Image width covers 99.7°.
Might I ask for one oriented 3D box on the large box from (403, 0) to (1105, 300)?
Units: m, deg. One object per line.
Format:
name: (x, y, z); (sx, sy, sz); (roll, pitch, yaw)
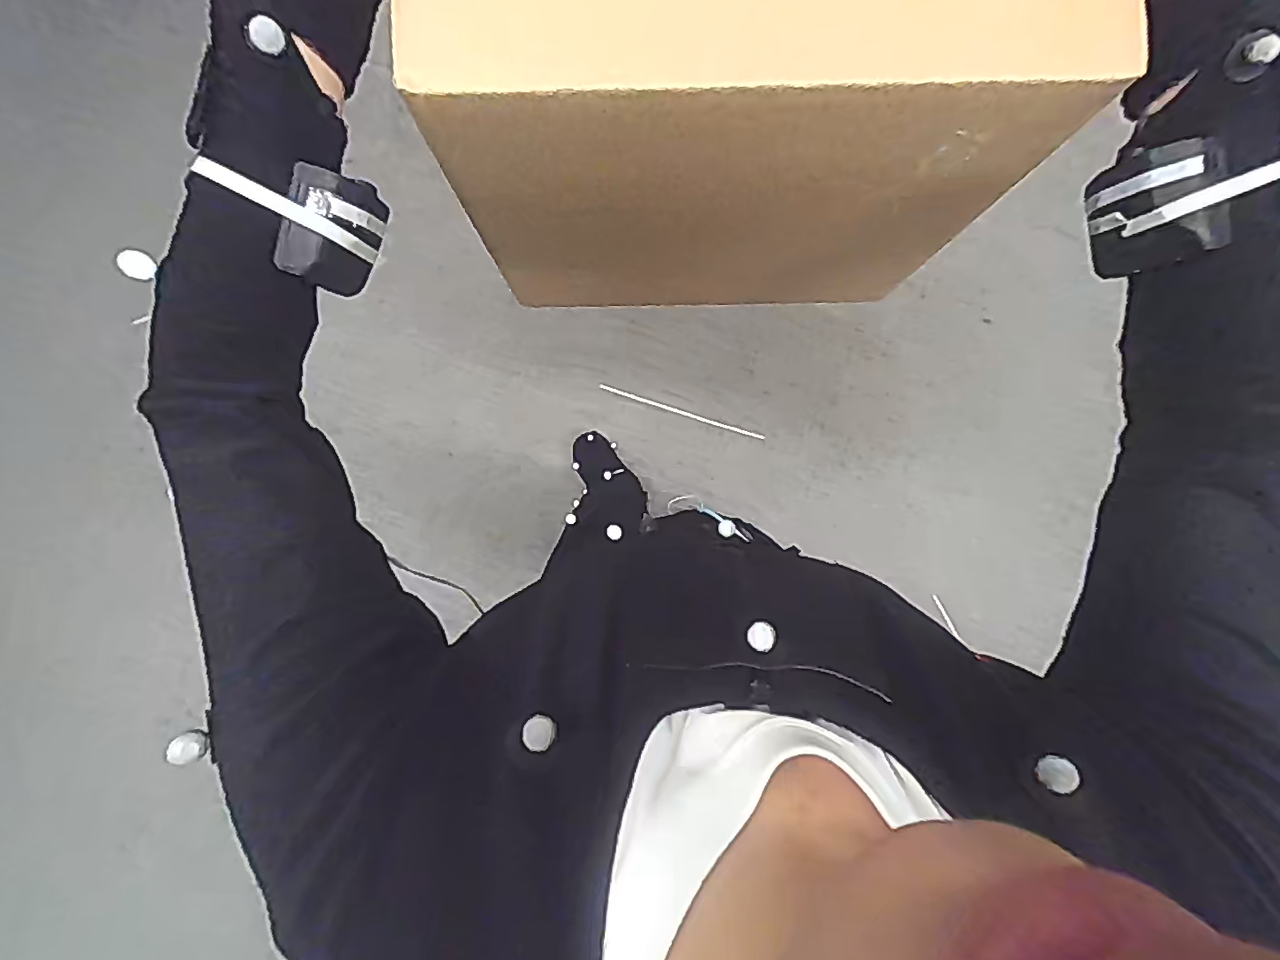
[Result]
large box: (0.056, -0.366, 0.461); (0.408, 0.320, 0.320); (-2, 87, -1)
